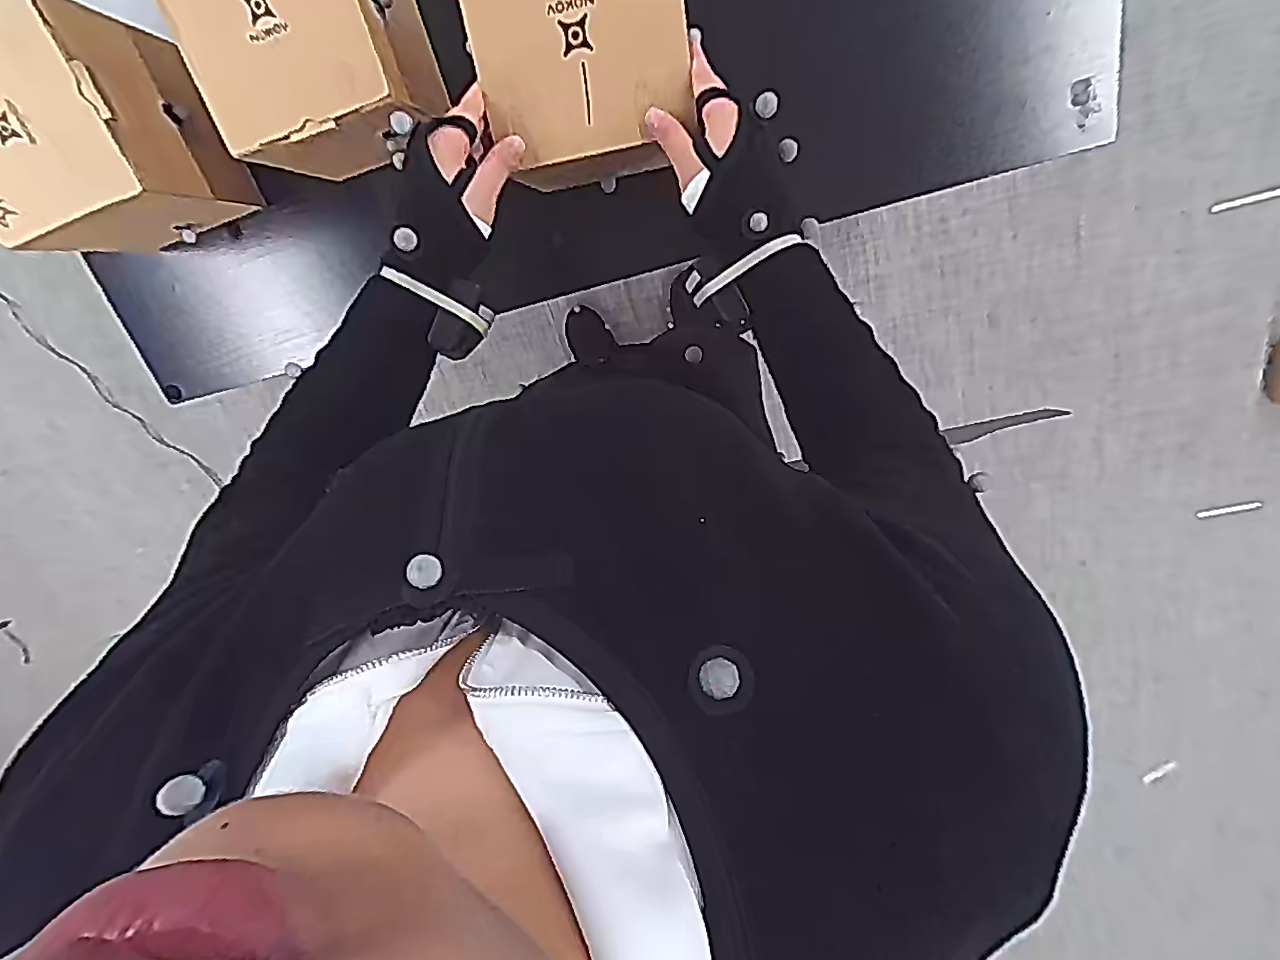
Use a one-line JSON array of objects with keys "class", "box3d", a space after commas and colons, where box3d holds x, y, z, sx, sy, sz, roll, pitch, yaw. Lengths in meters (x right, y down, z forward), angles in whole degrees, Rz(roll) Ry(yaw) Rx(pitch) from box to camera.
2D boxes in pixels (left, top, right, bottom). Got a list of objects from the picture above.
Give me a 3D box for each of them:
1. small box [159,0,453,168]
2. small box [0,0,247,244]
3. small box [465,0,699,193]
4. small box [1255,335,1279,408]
[{"class": "small box", "box3d": [-0.307, -0.420, 0.519, 0.168, 0.176, 0.179, -14, 110, 7]}, {"class": "small box", "box3d": [-0.558, -0.354, 0.558, 0.179, 0.176, 0.168, -15, 111, 8]}, {"class": "small box", "box3d": [-0.043, -0.372, 0.480, 0.168, 0.176, 0.179, -8, 113, 6]}, {"class": "small box", "box3d": [1.618, -0.258, 1.265, 0.168, 0.176, 0.179, -12, 112, 9]}]
